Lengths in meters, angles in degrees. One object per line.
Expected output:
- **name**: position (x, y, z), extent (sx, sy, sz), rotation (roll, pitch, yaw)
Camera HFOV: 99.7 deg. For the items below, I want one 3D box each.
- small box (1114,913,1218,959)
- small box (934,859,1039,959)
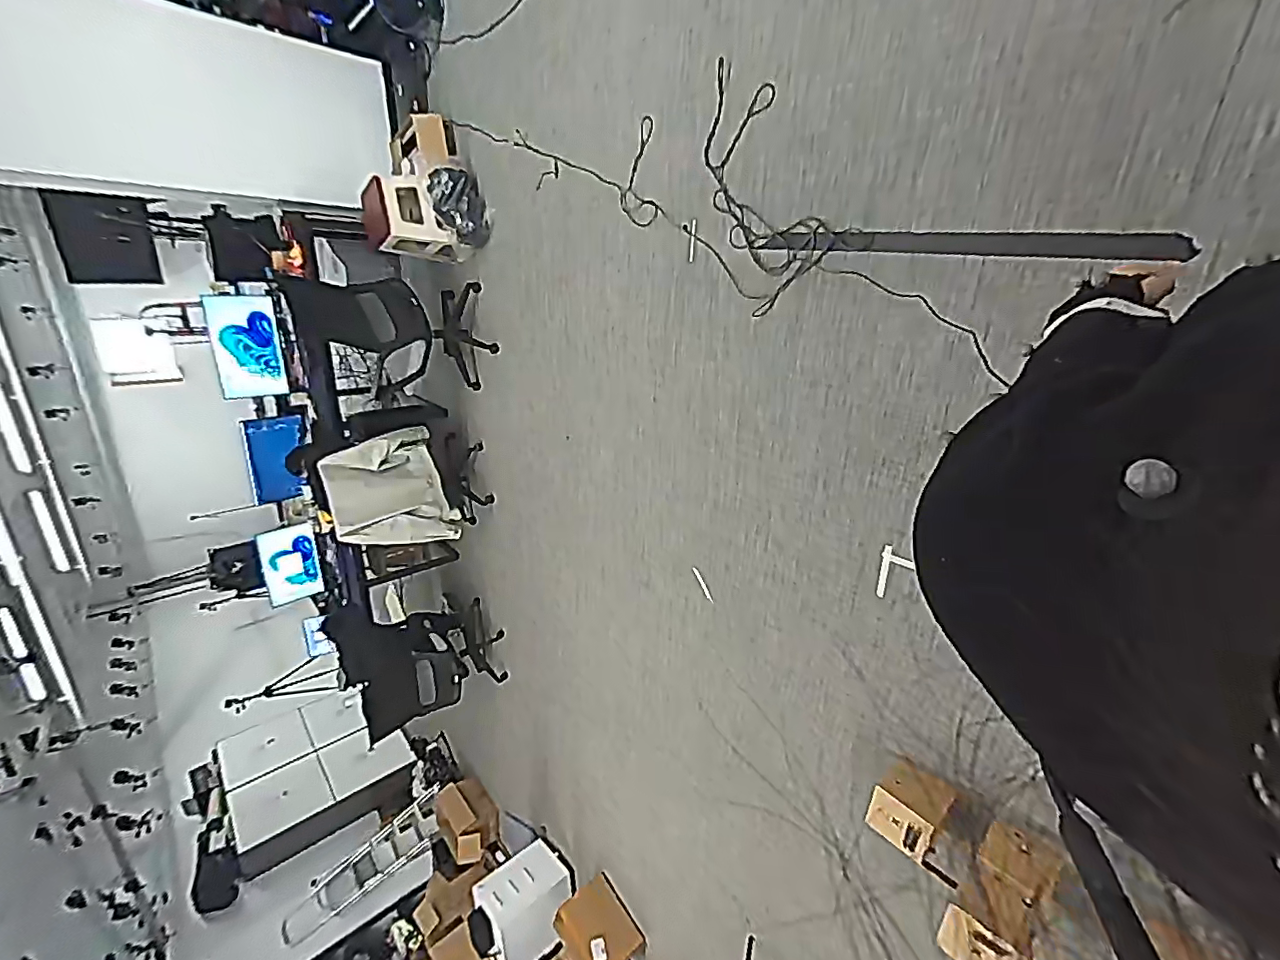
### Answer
- **small box**: position (1.222, 1.175, 1.255), extent (0.179, 0.176, 0.168), rotation (13, 111, 45)
- **small box**: position (0.881, 1.122, 1.371), extent (0.168, 0.176, 0.179), rotation (23, 120, 43)
